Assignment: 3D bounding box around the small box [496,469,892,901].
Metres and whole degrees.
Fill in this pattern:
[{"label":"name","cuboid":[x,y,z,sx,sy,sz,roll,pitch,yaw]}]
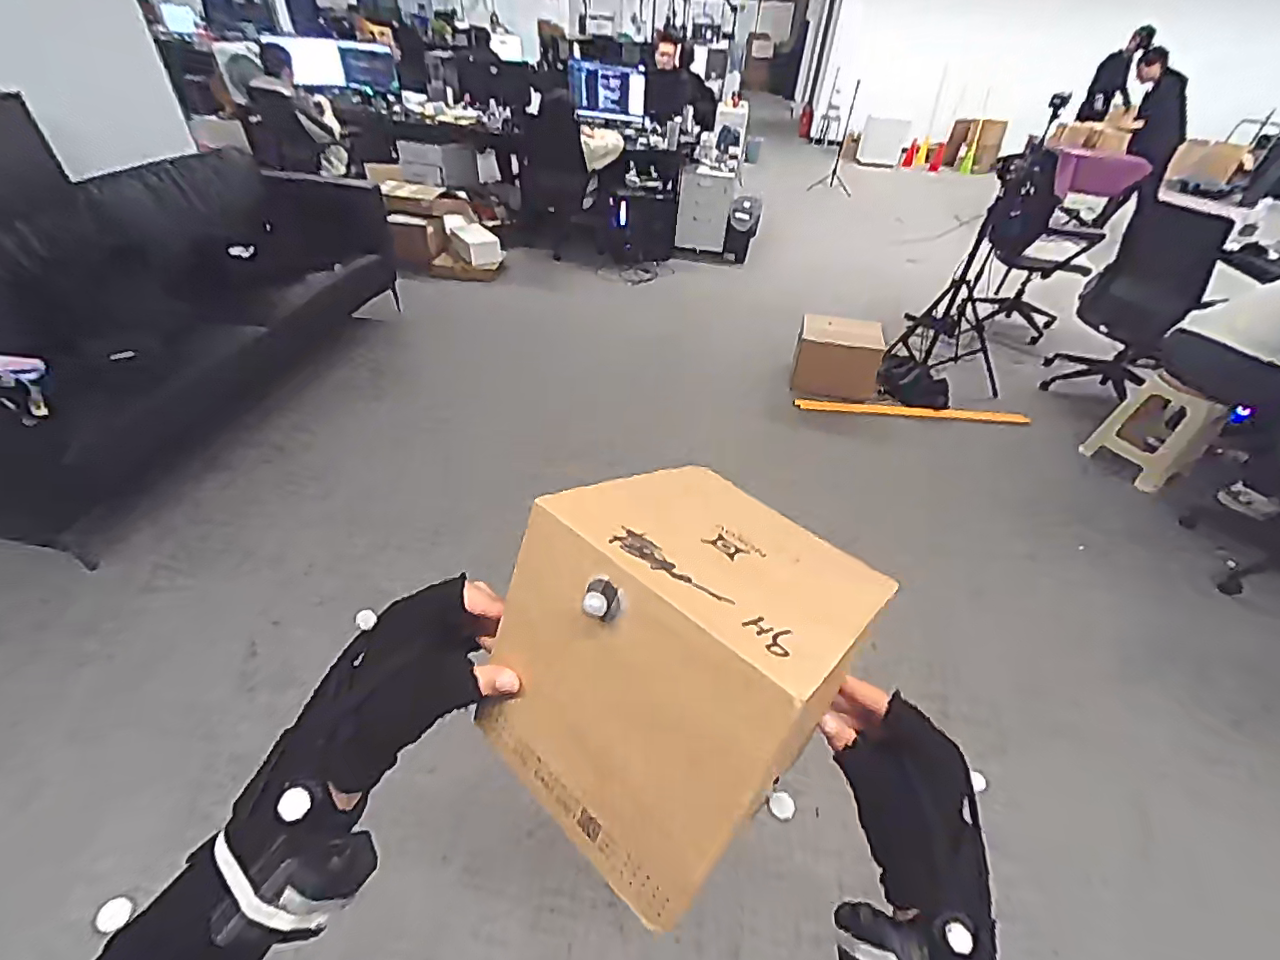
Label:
[{"label":"small box","cuboid":[0.032,0.110,0.359,0.168,0.176,0.179,32,24,30]}]
